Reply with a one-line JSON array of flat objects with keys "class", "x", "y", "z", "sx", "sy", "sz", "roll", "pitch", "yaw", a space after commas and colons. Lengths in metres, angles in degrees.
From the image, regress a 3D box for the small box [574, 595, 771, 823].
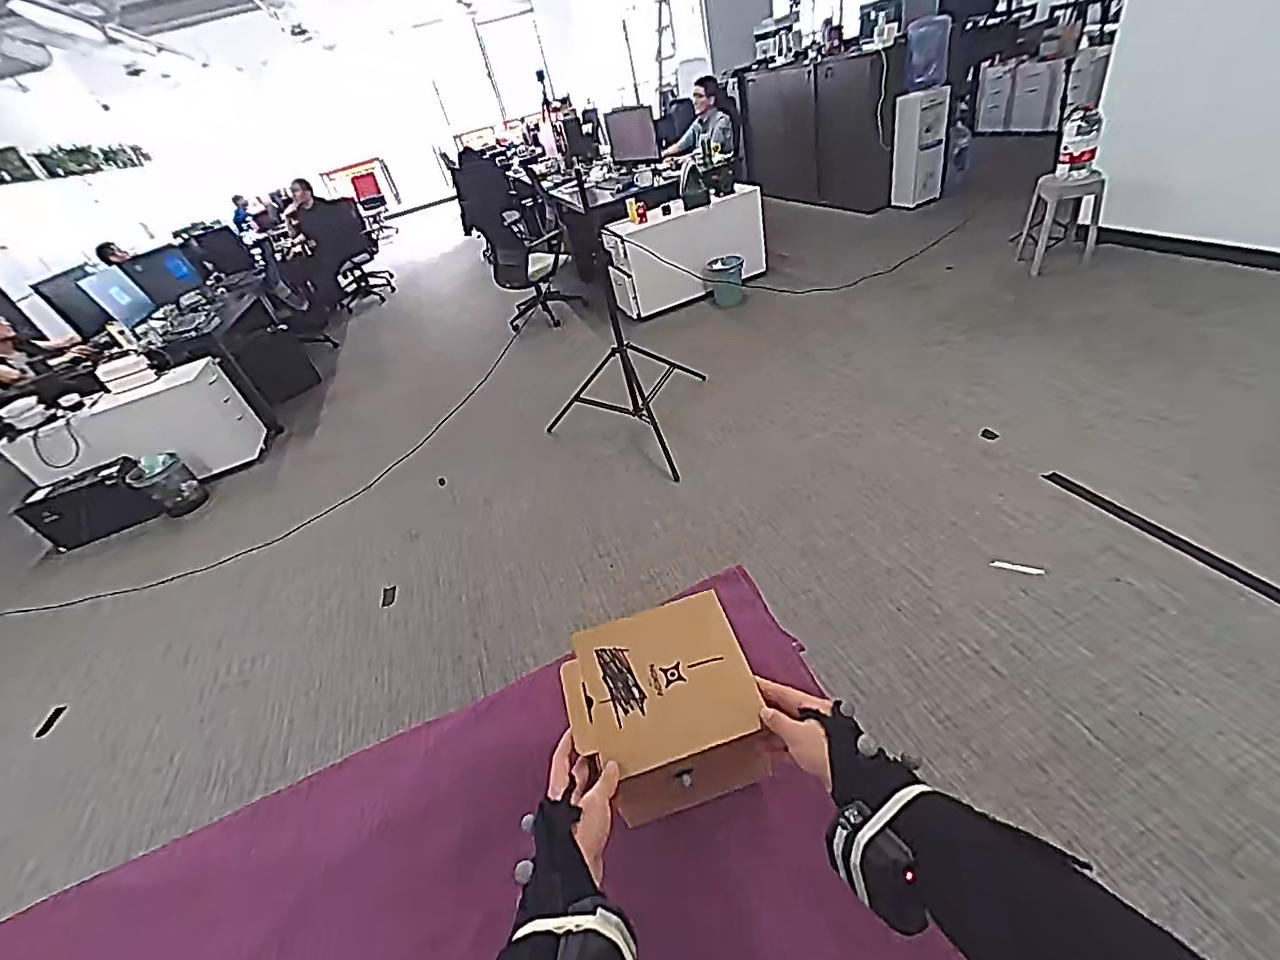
[{"class": "small box", "x": 0.038, "y": 0.268, "z": 0.628, "sx": 0.179, "sy": 0.176, "sz": 0.168, "roll": -16, "pitch": 45, "yaw": -6}]
